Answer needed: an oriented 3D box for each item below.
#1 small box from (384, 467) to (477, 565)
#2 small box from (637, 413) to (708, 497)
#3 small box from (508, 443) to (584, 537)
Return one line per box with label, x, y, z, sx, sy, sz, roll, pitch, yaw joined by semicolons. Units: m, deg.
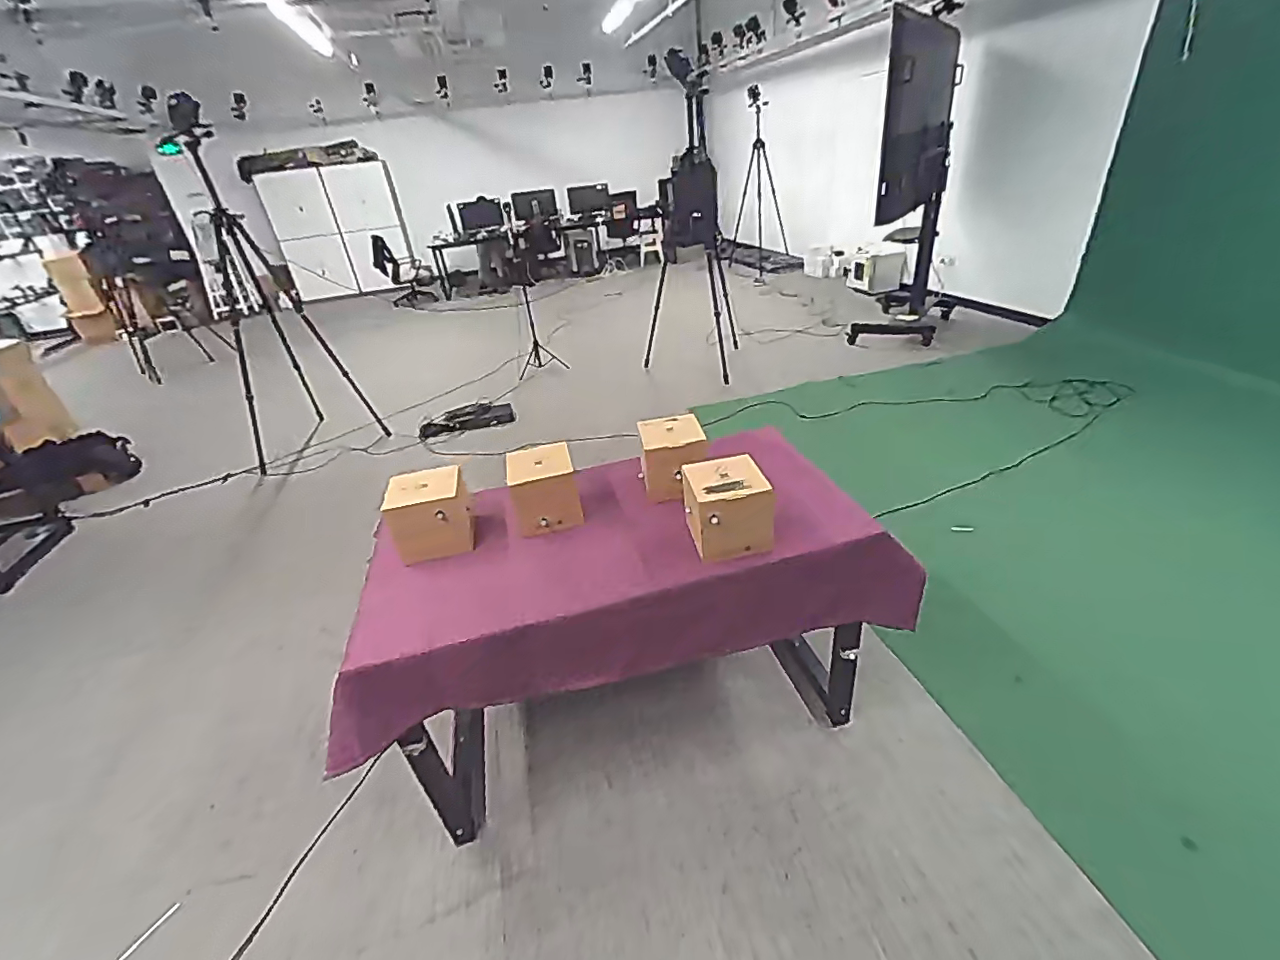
small box;-0.525;0.092;1.383;0.179;0.176;0.168;-13;31;-8
small box;0.090;-0.065;1.495;0.168;0.176;0.179;-9;32;-3
small box;-0.250;0.026;1.431;0.168;0.176;0.179;-13;32;-7
